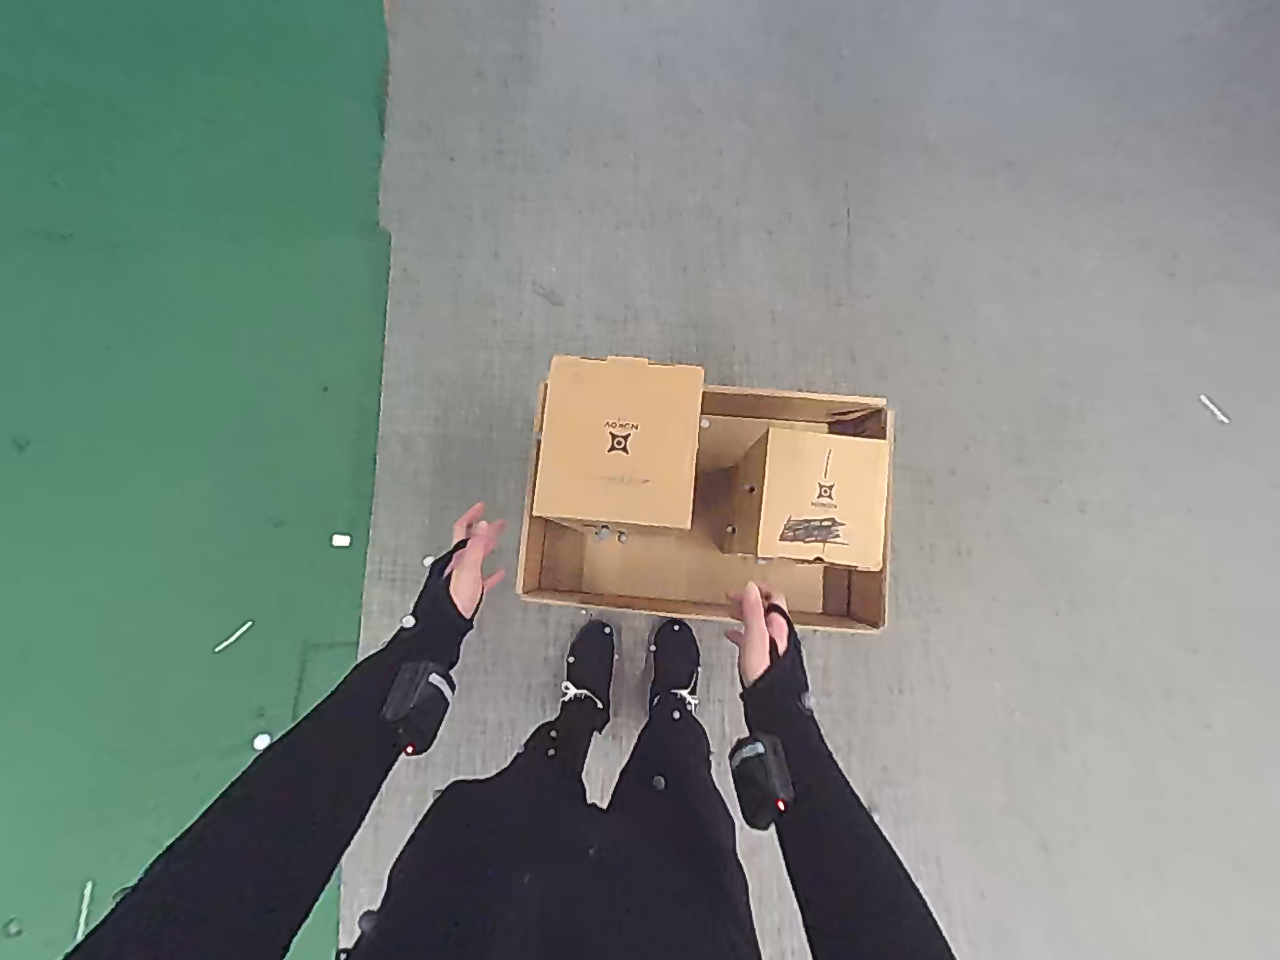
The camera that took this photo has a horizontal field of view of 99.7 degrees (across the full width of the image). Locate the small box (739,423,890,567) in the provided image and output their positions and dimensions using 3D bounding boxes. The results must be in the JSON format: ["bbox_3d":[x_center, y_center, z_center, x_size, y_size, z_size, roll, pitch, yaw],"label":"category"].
[{"bbox_3d":[0.243,0.028,0.787,0.168,0.176,0.179,6,82,2],"label":"small box"}]

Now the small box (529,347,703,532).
[{"bbox_3d":[-0.022,-0.037,0.636,0.168,0.176,0.179,5,82,3],"label":"small box"}]
